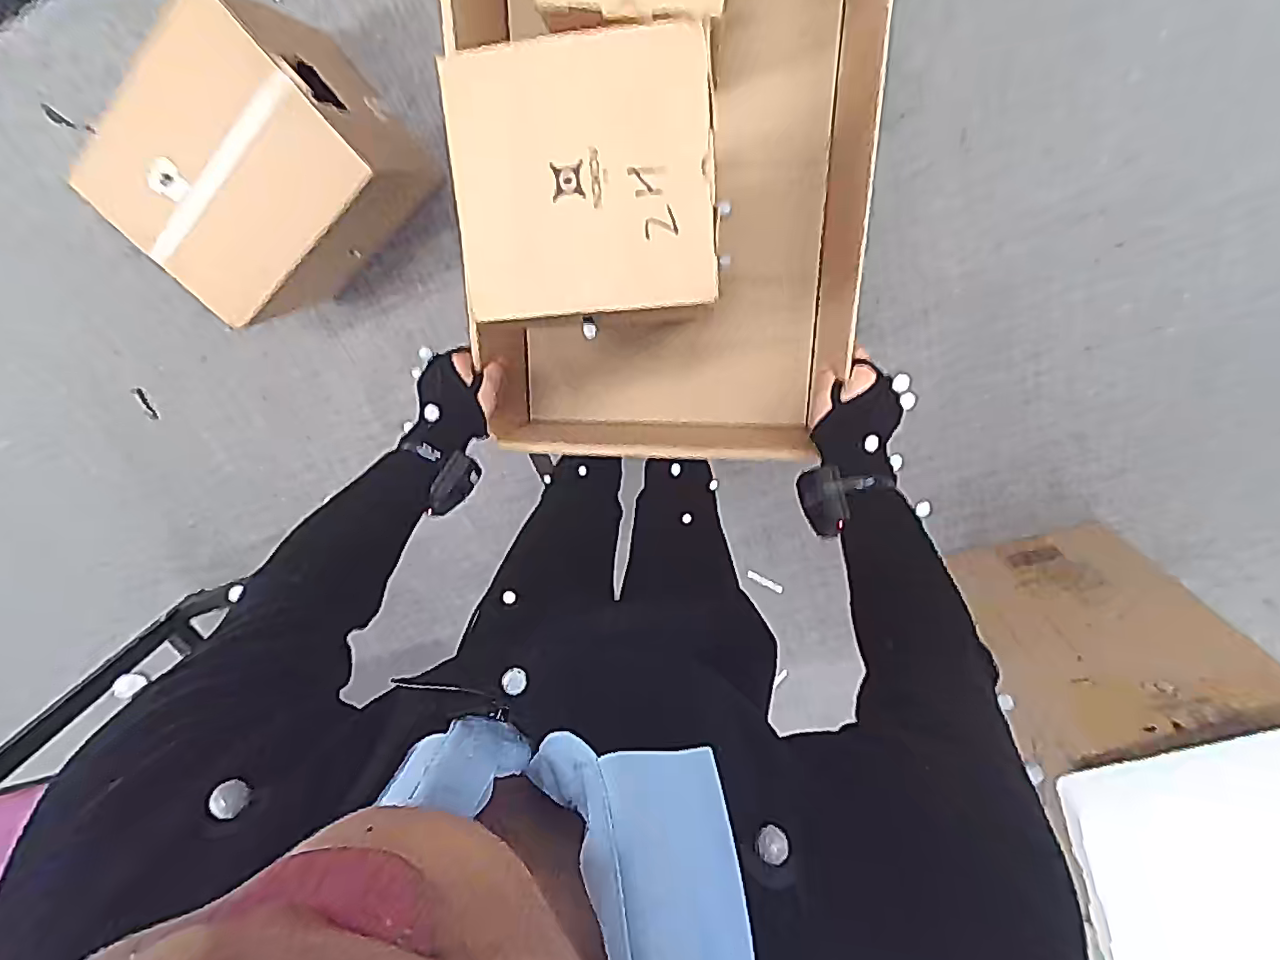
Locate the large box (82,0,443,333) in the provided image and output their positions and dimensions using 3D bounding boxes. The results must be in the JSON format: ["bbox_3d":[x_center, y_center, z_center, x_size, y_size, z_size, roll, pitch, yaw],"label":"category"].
[{"bbox_3d":[-0.646,-0.547,0.983,0.408,0.320,0.320,-35,110,20],"label":"large box"}]

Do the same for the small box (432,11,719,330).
[{"bbox_3d":[-0.030,-0.207,0.417,0.179,0.176,0.168,-2,104,6],"label":"small box"}]
